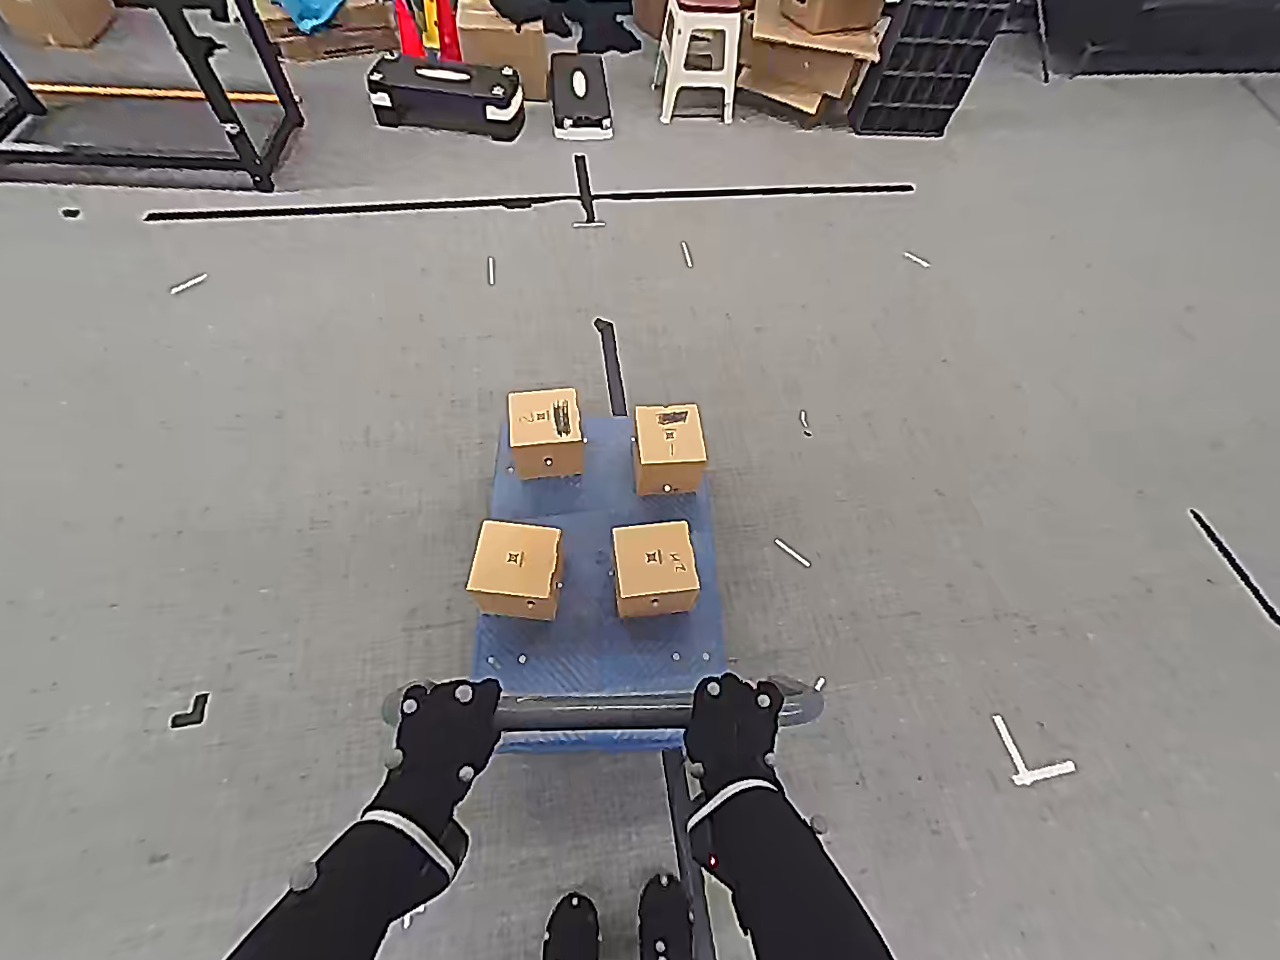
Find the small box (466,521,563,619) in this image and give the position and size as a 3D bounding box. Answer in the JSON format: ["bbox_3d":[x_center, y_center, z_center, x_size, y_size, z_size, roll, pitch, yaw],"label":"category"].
[{"bbox_3d":[-0.277,0.211,1.234,0.179,0.176,0.168,7,60,-2],"label":"small box"}]

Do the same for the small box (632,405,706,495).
[{"bbox_3d":[0.069,-0.077,1.423,0.168,0.176,0.179,-3,62,-6],"label":"small box"}]

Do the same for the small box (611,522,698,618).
[{"bbox_3d":[0.027,0.213,1.256,0.179,0.176,0.168,-5,61,-7],"label":"small box"}]
